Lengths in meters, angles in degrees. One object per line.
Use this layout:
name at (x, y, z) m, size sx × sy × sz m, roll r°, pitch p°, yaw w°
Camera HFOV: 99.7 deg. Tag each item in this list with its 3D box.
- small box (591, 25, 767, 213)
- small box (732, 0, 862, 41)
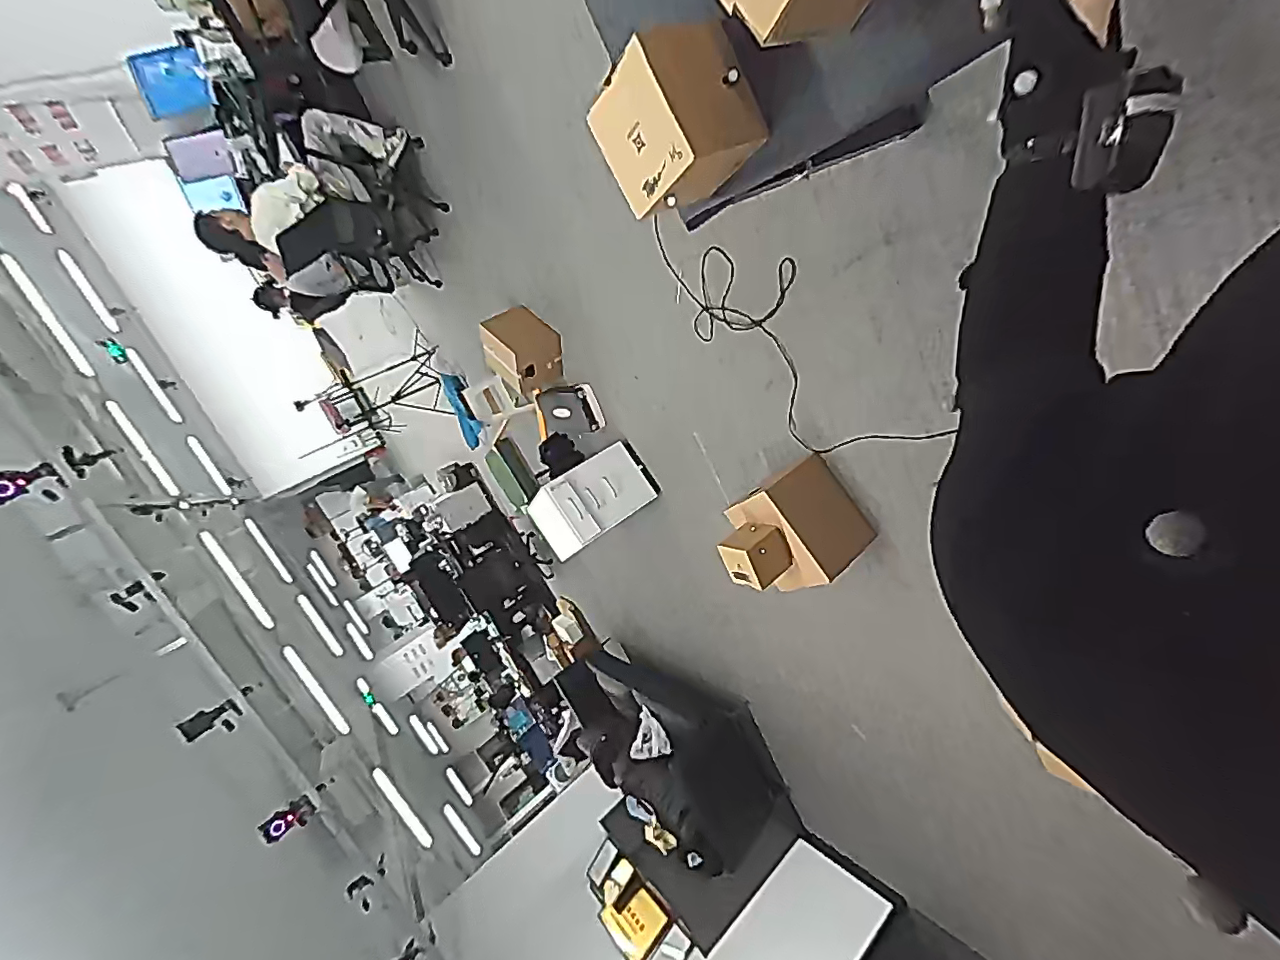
small box at (0.059, -0.551, 0.830) m, size 0.179 × 0.176 × 0.168 m, roll 61°, pitch 153°, yaw -9°
small box at (0.183, -0.611, 0.559) m, size 0.168 × 0.176 × 0.179 m, roll 56°, pitch 153°, yaw 0°
